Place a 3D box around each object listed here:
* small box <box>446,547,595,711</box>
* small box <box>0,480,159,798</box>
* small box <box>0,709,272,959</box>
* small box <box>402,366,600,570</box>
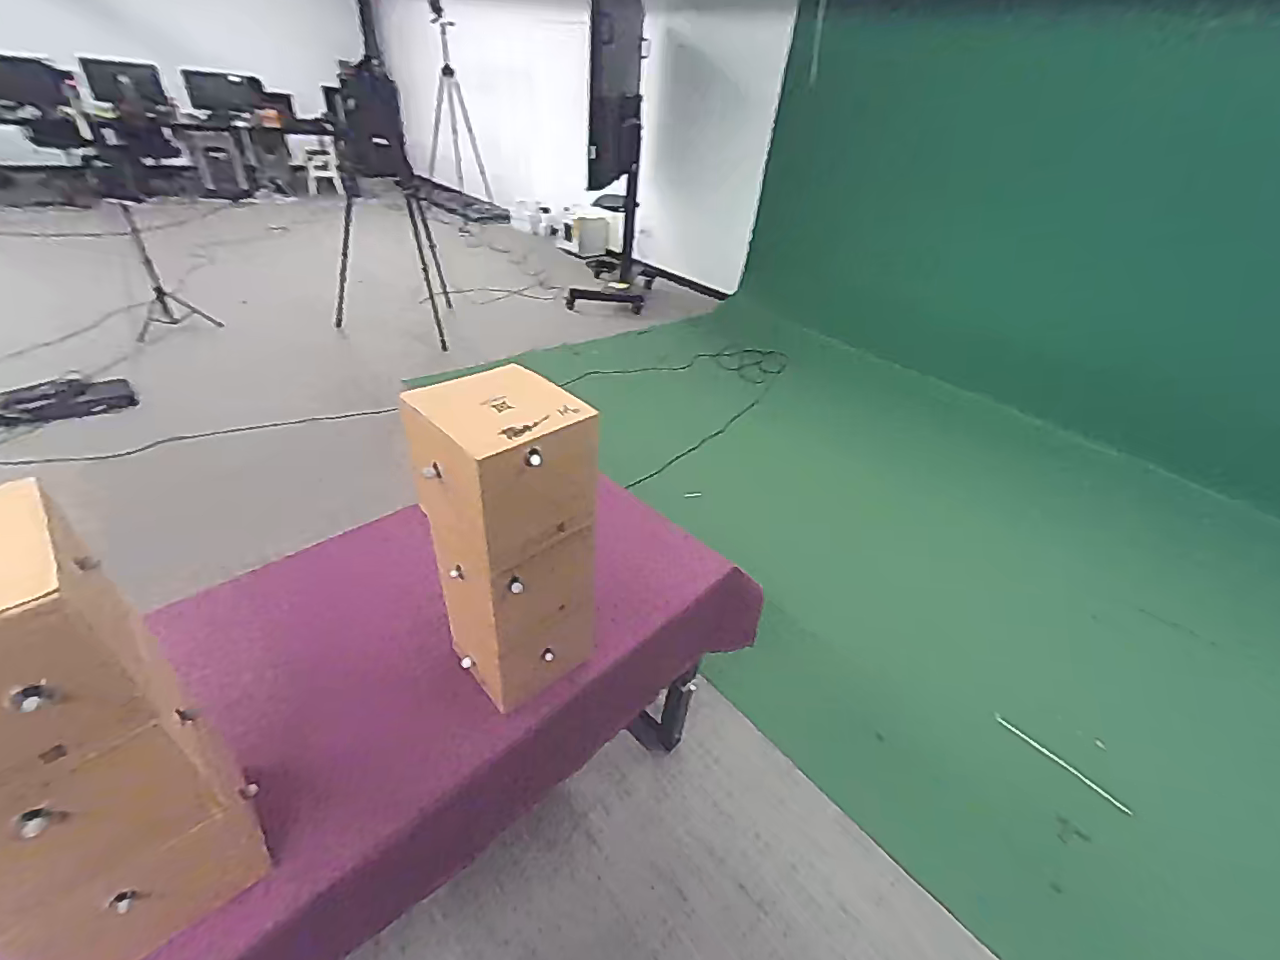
[{"bbox_3d":[-0.193,0.233,0.886,0.179,0.176,0.168,-26,46,-35],"label":"small box"},{"bbox_3d":[-0.517,0.134,0.416,0.168,0.176,0.179,-27,47,-37],"label":"small box"},{"bbox_3d":[-0.553,0.398,0.603,0.179,0.176,0.168,-24,46,-36],"label":"small box"},{"bbox_3d":[-0.169,-0.020,0.676,0.179,0.176,0.168,32,44,33],"label":"small box"}]
